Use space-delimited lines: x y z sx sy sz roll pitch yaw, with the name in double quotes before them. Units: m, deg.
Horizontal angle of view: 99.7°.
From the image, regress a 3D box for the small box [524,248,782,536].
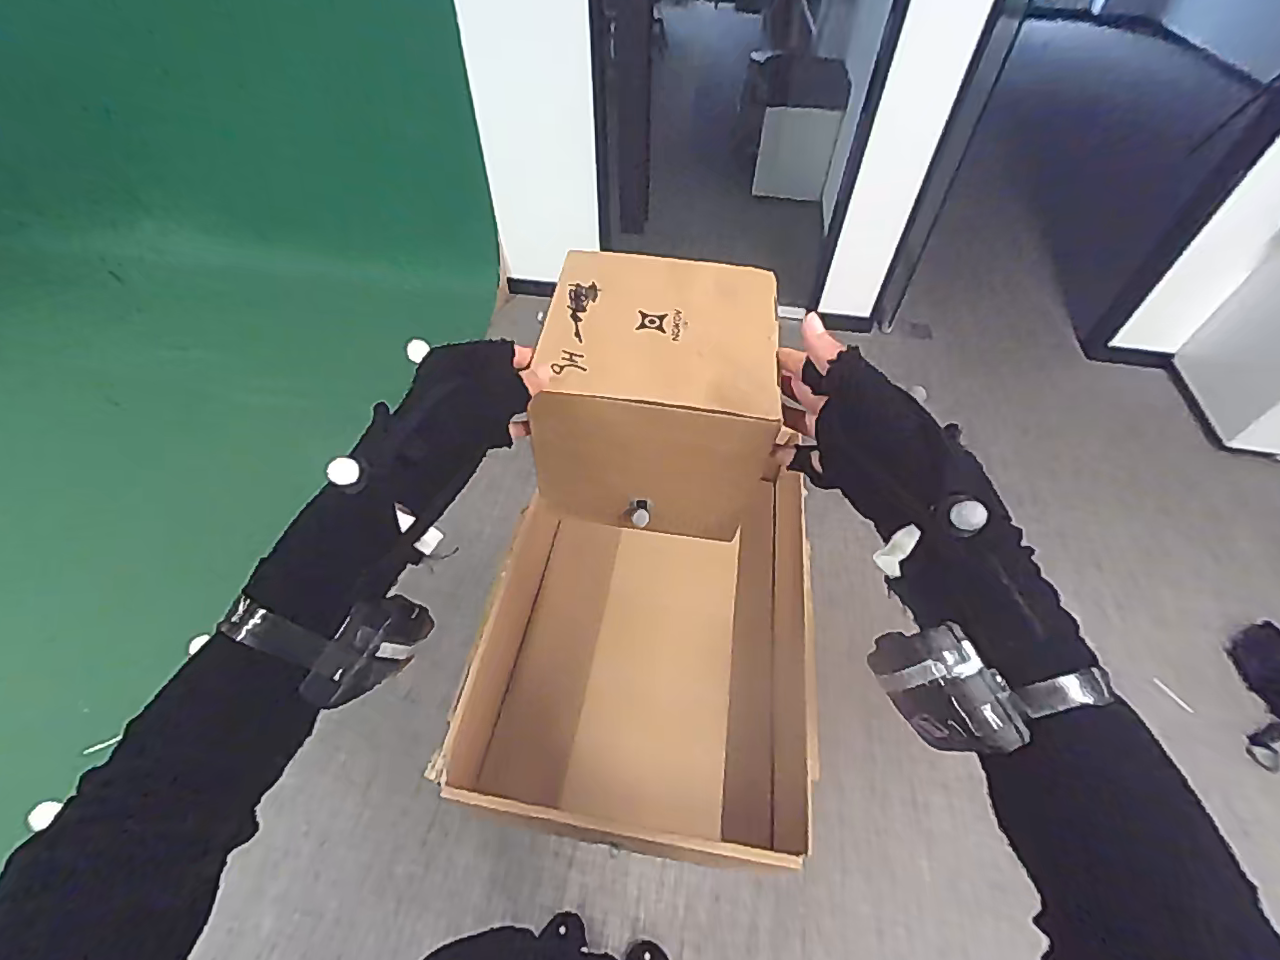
"small box" 0.012 -0.068 0.468 0.179 0.176 0.168 9 54 1
